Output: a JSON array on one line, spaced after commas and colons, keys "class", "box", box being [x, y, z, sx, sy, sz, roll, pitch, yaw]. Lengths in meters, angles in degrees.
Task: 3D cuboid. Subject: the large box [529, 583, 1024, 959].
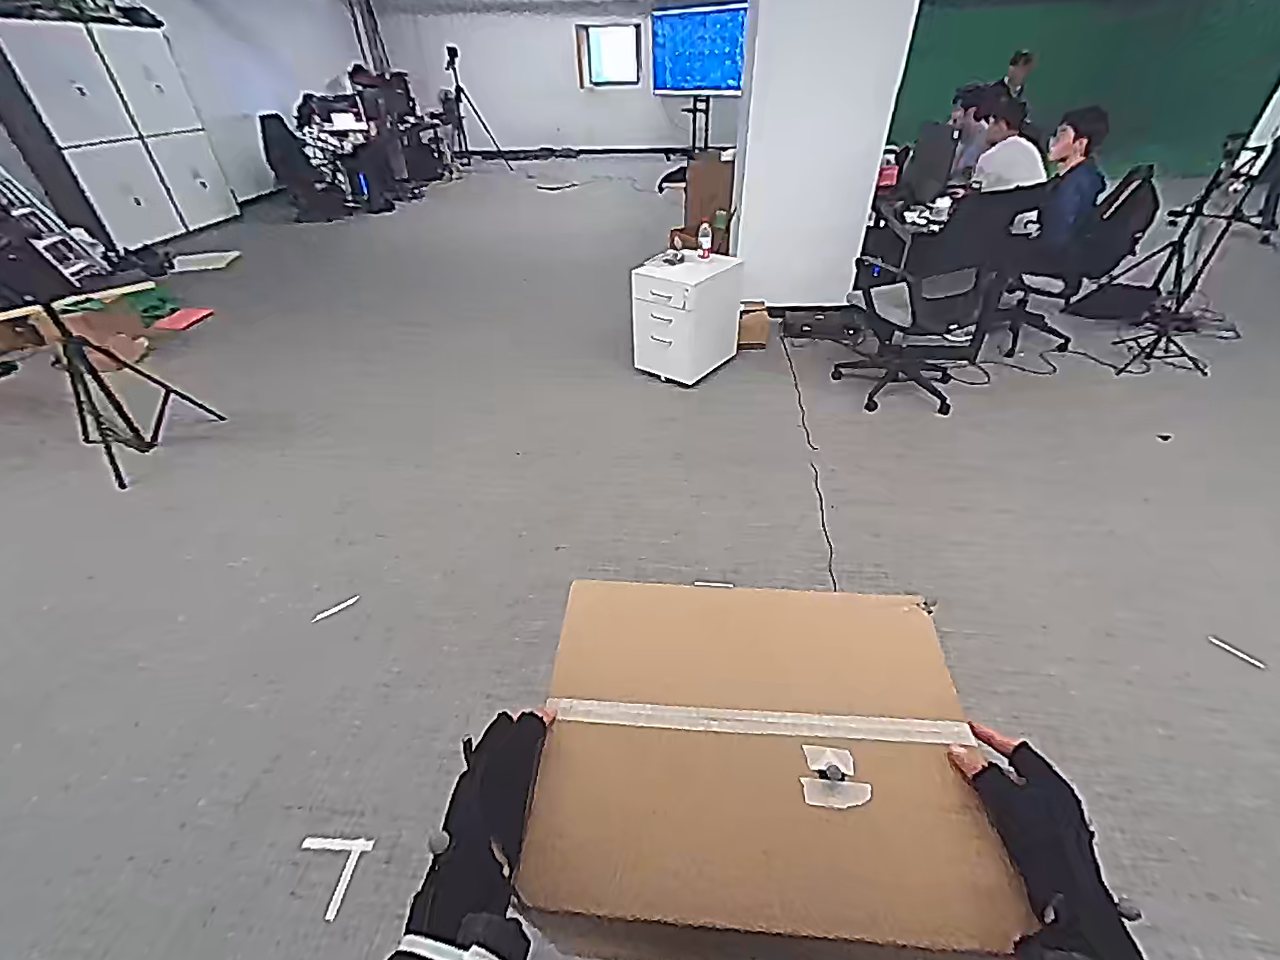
[{"class": "large box", "box": [0.117, 0.344, 0.641, 0.408, 0.320, 0.320, 2, 45, 5]}]
